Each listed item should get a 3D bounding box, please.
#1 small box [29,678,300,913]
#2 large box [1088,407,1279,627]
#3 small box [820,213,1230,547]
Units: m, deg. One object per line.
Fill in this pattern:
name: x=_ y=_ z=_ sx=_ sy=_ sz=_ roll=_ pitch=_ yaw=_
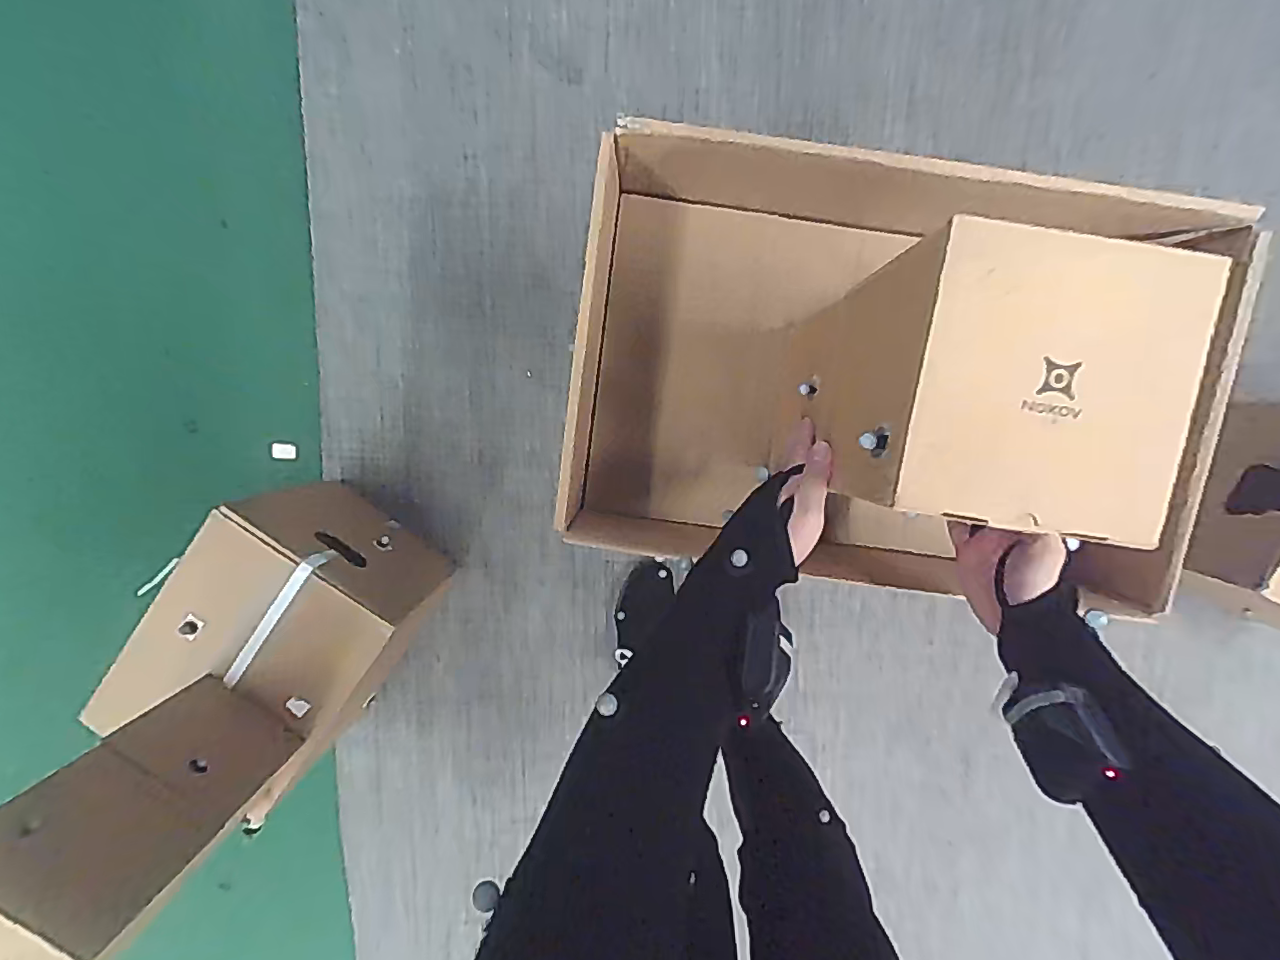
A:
small box: x=-0.609 y=0.402 z=0.720 sx=0.179 sy=0.176 sz=0.168 roll=40 pitch=94 yaw=-5
large box: x=1.140 y=0.090 z=0.935 sx=0.408 sy=0.320 sz=0.320 roll=24 pitch=96 yaw=-2
small box: x=0.249 y=-0.064 z=0.399 sx=0.168 sy=0.176 sz=0.179 roll=9 pitch=96 yaw=-1
